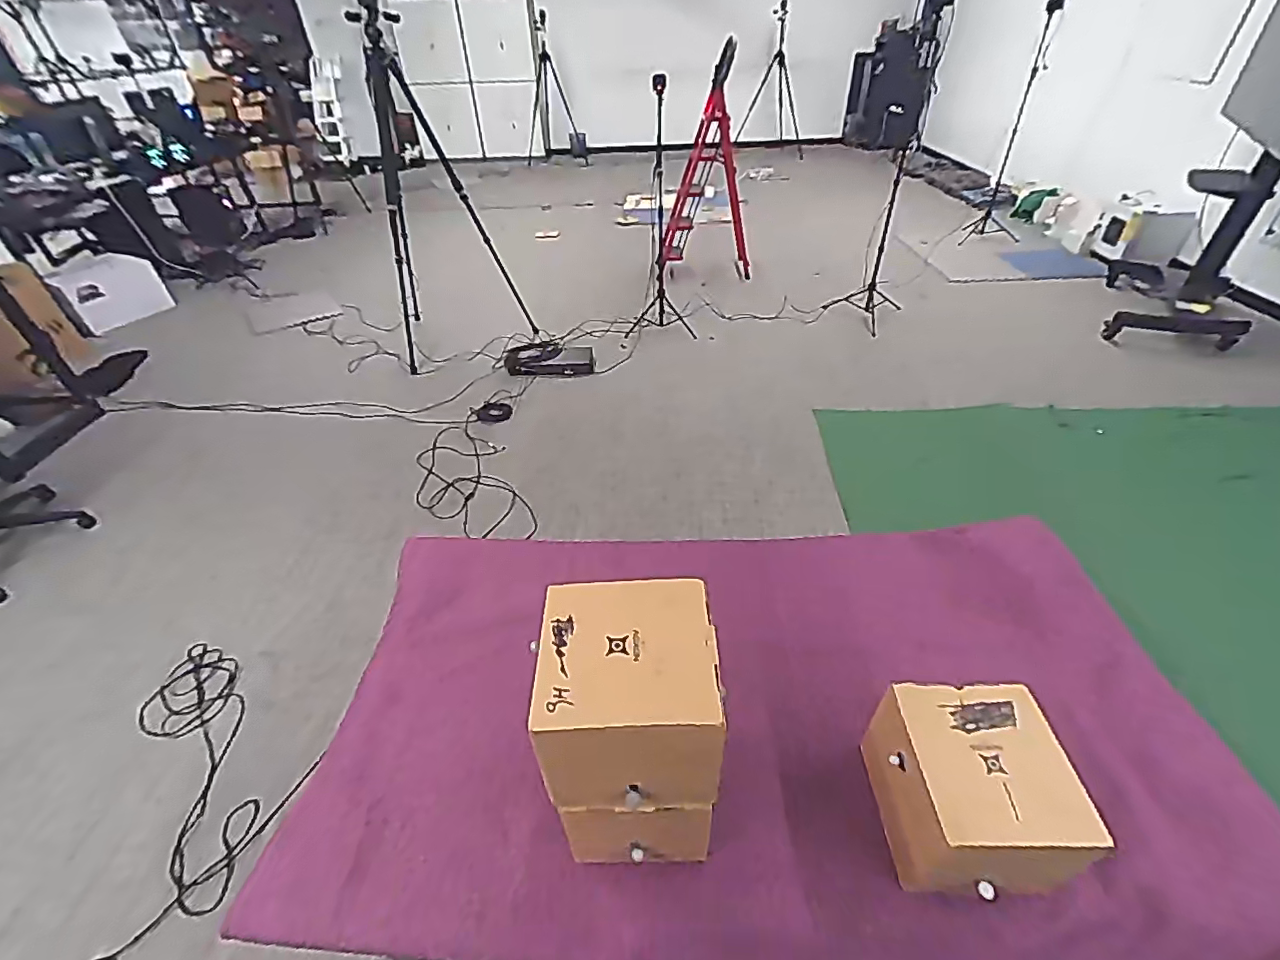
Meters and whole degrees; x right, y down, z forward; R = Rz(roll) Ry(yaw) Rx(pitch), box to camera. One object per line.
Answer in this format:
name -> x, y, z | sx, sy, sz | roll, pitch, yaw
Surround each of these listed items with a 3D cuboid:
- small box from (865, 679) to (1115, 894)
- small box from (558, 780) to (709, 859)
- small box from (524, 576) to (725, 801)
small box -> 0.387, 0.361, 0.644 | 0.168, 0.176, 0.179 | -1, 40, 2
small box -> -0.006, 0.347, 0.680 | 0.168, 0.176, 0.179 | -2, 39, 2
small box -> -0.013, 0.221, 0.575 | 0.179, 0.176, 0.168 | -2, 38, 0
